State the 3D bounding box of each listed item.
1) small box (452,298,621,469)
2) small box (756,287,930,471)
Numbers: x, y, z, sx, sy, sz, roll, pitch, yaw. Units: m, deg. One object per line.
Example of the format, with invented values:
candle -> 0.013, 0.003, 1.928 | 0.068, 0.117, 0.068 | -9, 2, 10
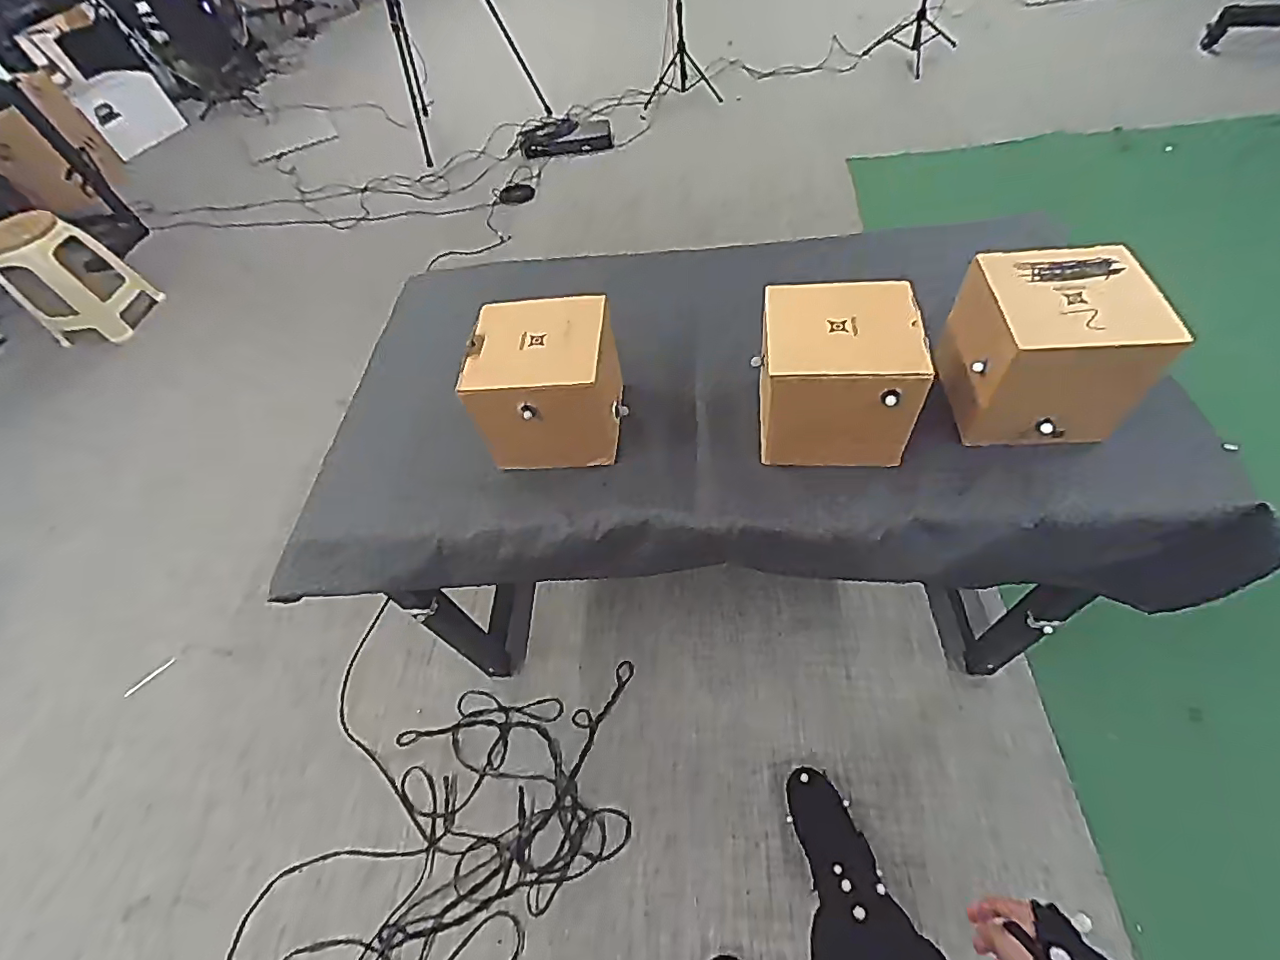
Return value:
small box -> -0.129, -0.127, 0.748 | 0.179, 0.176, 0.168 | -1, 55, 6
small box -> 0.241, -0.125, 0.694 | 0.179, 0.176, 0.168 | 2, 54, 9
